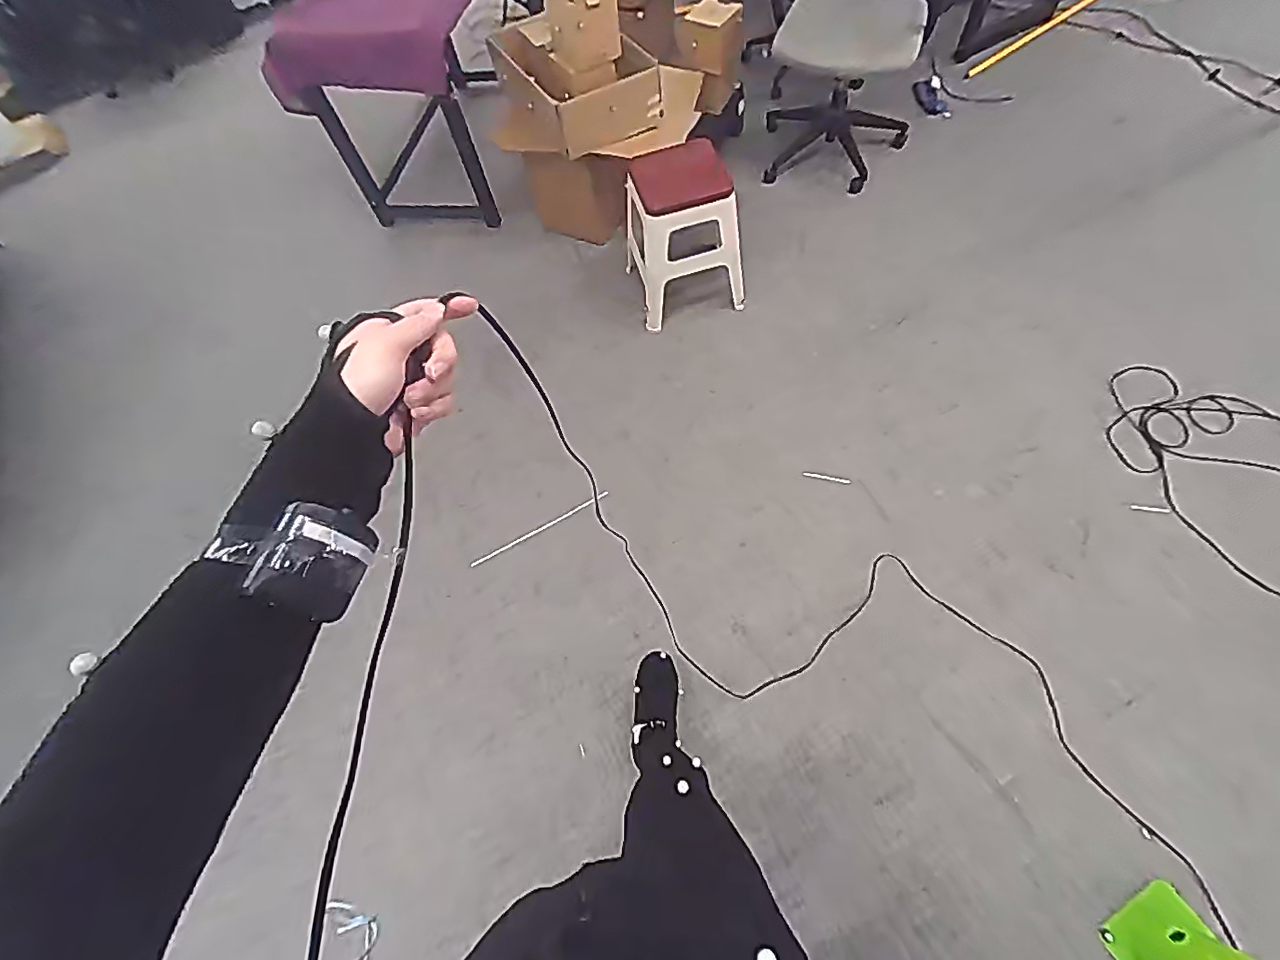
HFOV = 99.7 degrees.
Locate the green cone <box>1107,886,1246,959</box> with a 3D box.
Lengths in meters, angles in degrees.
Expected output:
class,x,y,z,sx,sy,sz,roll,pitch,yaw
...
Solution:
class,x,y,z,sx,sy,sz,roll,pitch,yaw
green cone,1.072,0.895,0.939,0.202,0.368,0.200,-30,63,-11
